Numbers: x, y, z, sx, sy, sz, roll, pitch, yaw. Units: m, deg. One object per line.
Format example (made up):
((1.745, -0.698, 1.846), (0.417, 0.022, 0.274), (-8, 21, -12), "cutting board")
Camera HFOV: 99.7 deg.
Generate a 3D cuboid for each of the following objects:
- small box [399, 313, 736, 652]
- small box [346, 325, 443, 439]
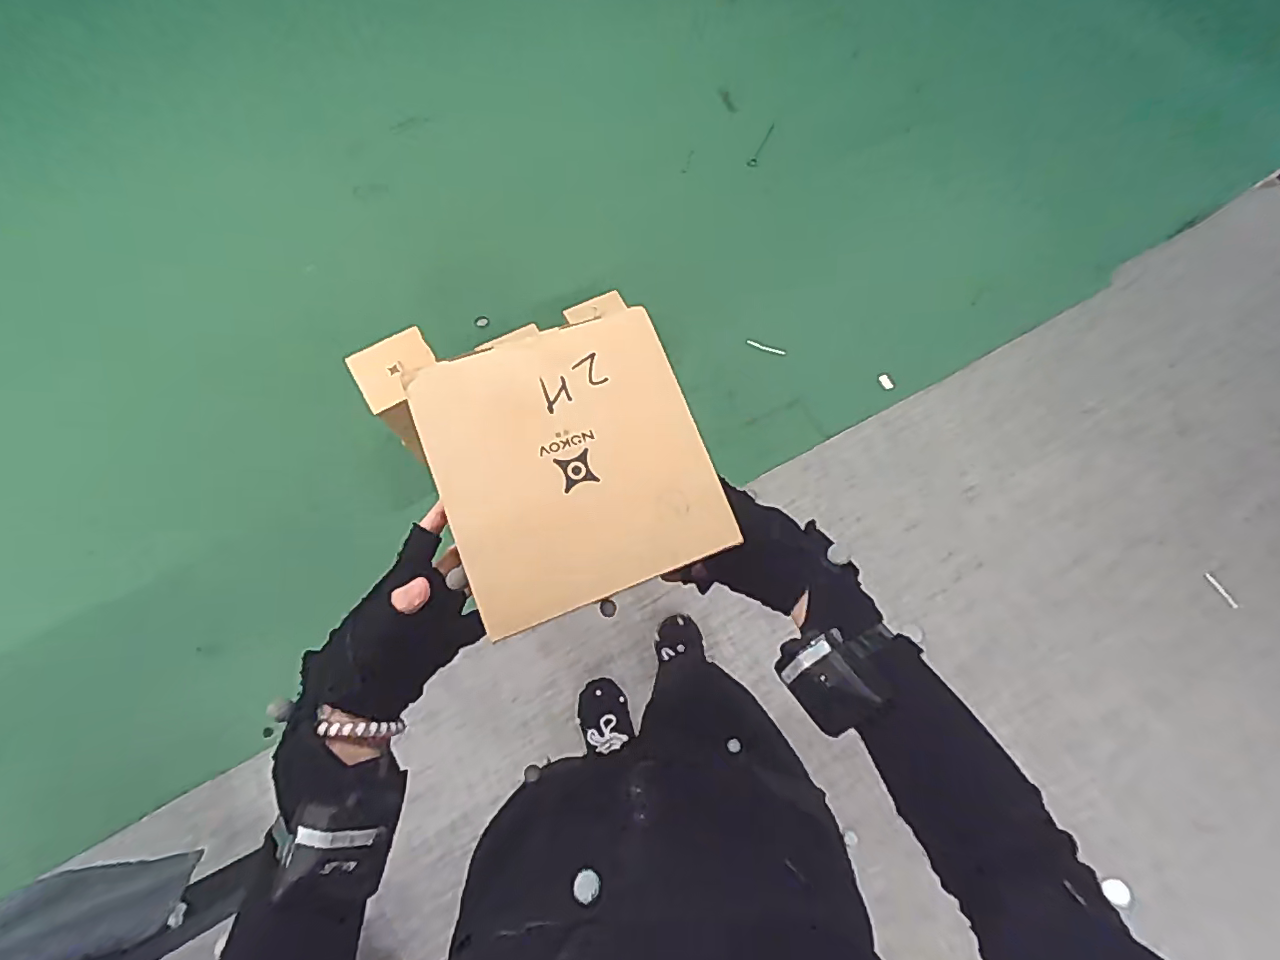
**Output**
((-0.054, 0.009, 0.409), (0.168, 0.176, 0.179), (-19, 80, -13), "small box")
((-0.543, -0.223, 1.273), (0.179, 0.176, 0.168), (-30, 75, -12), "small box")
